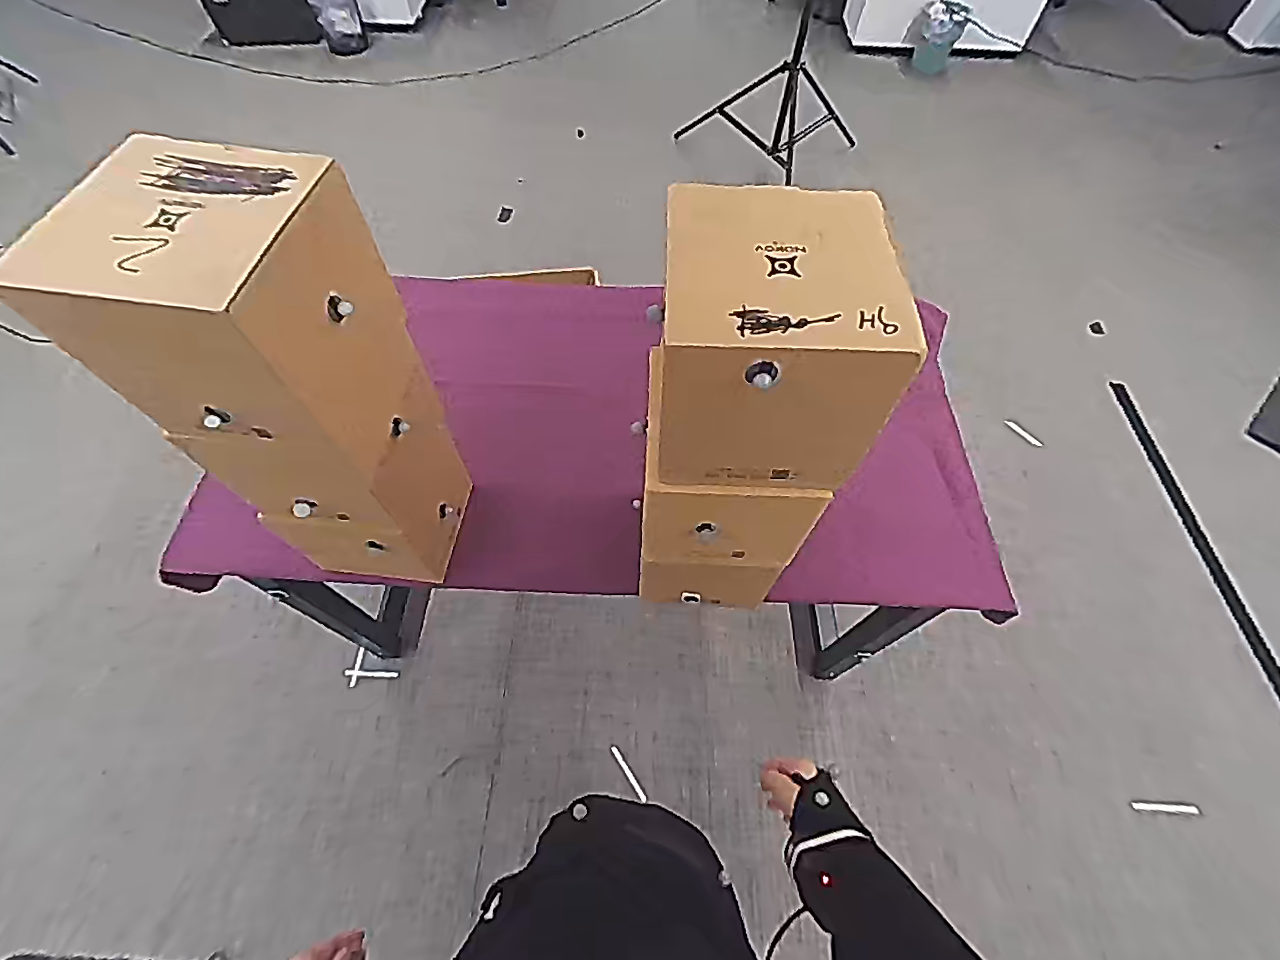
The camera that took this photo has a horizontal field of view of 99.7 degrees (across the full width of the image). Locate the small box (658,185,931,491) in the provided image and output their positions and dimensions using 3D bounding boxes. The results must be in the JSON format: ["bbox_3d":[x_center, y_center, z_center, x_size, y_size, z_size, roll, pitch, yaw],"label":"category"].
[{"bbox_3d":[0.101,-0.111,0.444,0.168,0.176,0.179,2,58,1],"label":"small box"}]

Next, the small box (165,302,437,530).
[{"bbox_3d":[-0.340,-0.065,0.592,0.168,0.176,0.179,5,60,2],"label":"small box"}]

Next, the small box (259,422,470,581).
[{"bbox_3d":[-0.348,0.027,0.729,0.179,0.176,0.168,6,59,2],"label":"small box"}]

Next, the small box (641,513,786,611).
[{"bbox_3d":[0.088,0.061,0.722,0.168,0.176,0.179,2,60,1],"label":"small box"}]

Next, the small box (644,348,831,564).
[{"bbox_3d":[0.090,-0.019,0.580,0.168,0.176,0.179,2,59,1],"label":"small box"}]
